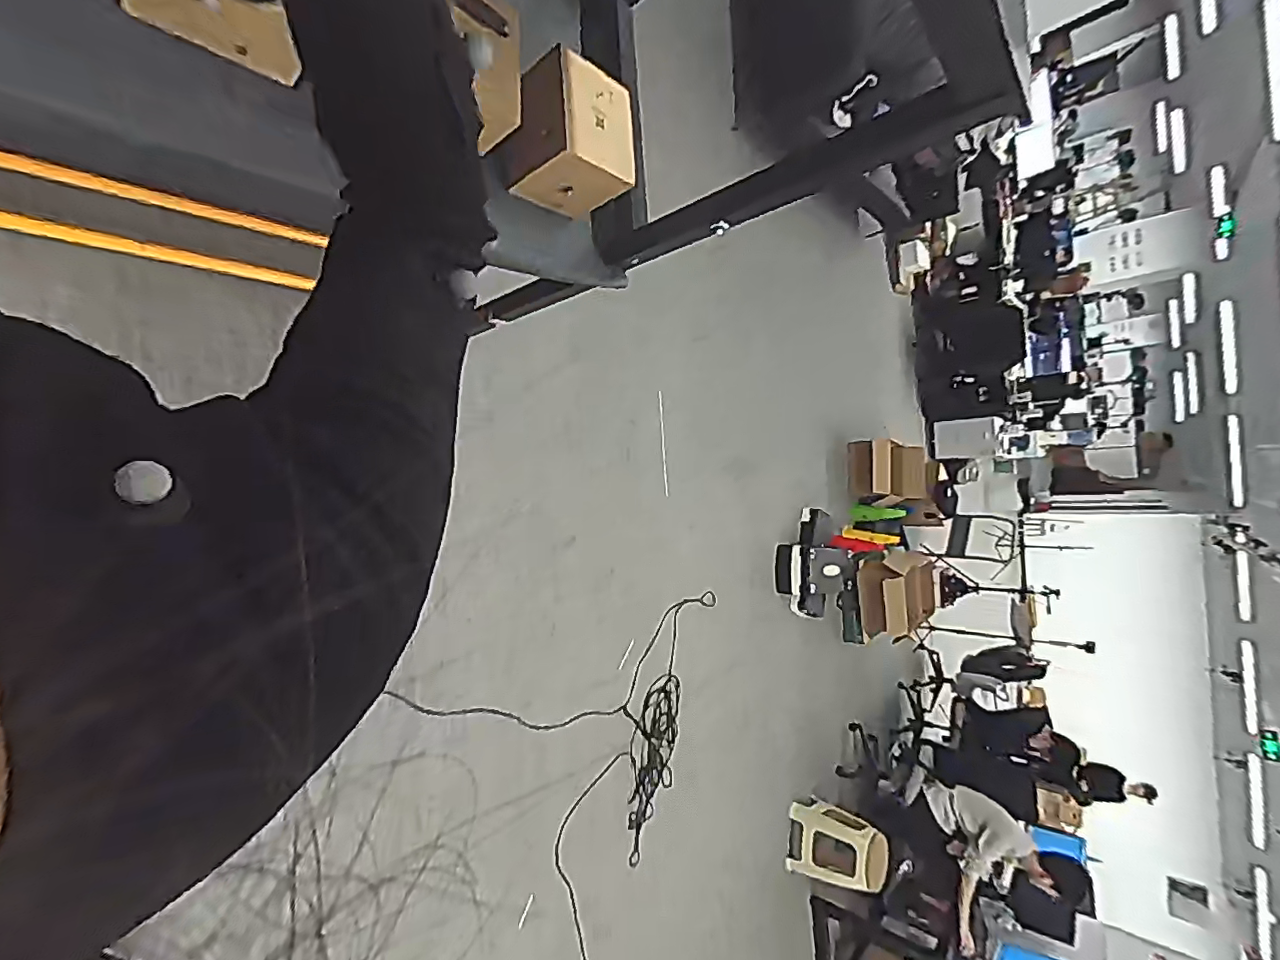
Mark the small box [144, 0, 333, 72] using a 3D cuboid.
[{"bbox_3d":[-0.461,-0.616,0.603,0.168,0.176,0.179,-3,90,-49],"label":"small box"}]

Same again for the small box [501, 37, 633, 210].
[{"bbox_3d":[-0.132,-0.619,0.972,0.168,0.176,0.179,-4,90,-49],"label":"small box"}]
